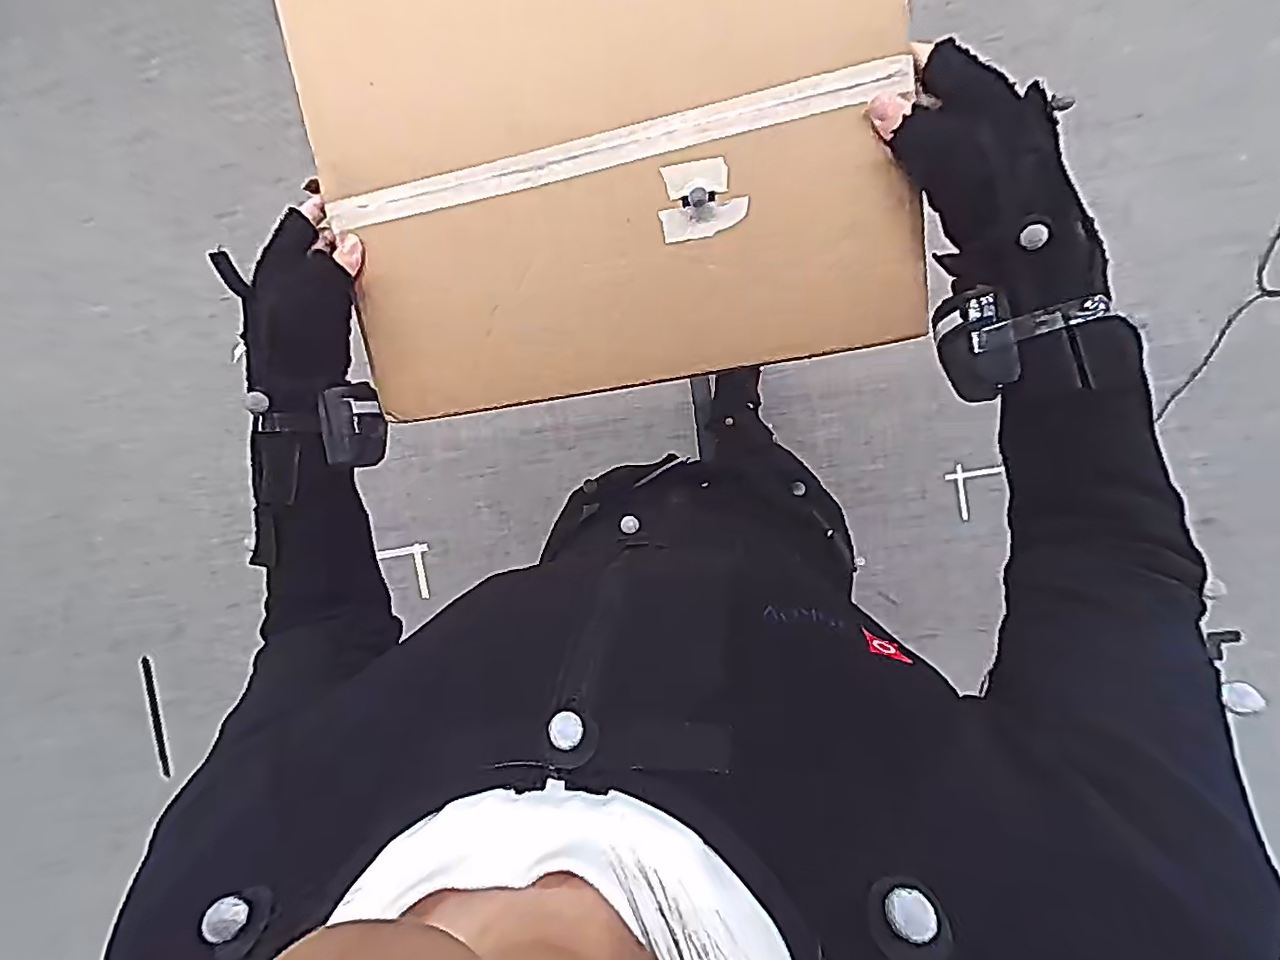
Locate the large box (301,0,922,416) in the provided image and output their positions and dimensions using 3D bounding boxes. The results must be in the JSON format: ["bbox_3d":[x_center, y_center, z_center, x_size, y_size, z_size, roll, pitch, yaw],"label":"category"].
[{"bbox_3d":[-0.006,-0.260,0.523,0.408,0.320,0.320,-8,102,10],"label":"large box"}]
